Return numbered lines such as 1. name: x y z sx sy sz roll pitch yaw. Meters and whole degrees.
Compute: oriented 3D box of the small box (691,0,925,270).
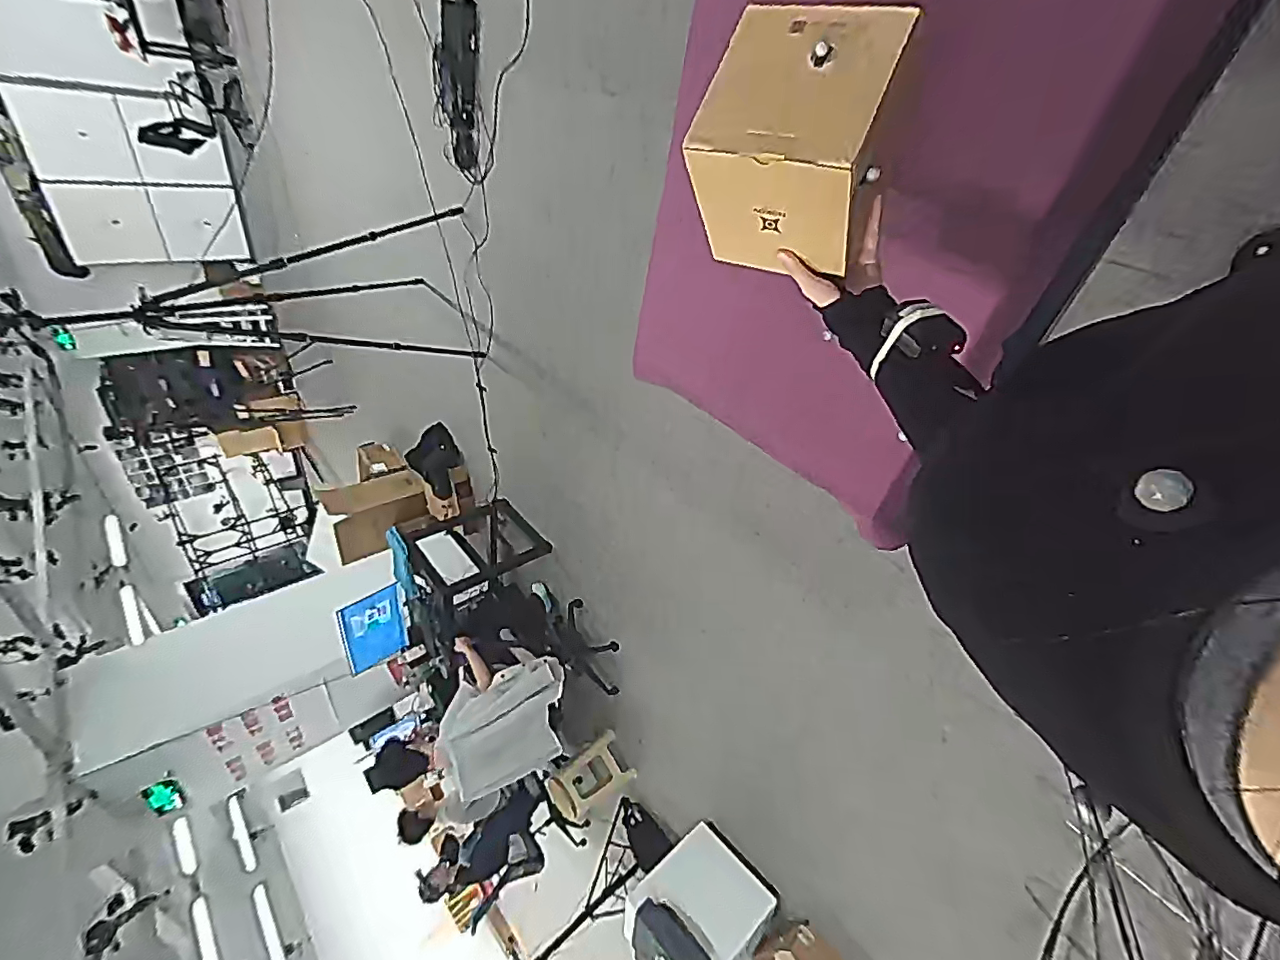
1. small box: 0.177 -0.357 0.567 0.168 0.179 0.176 22 85 23
